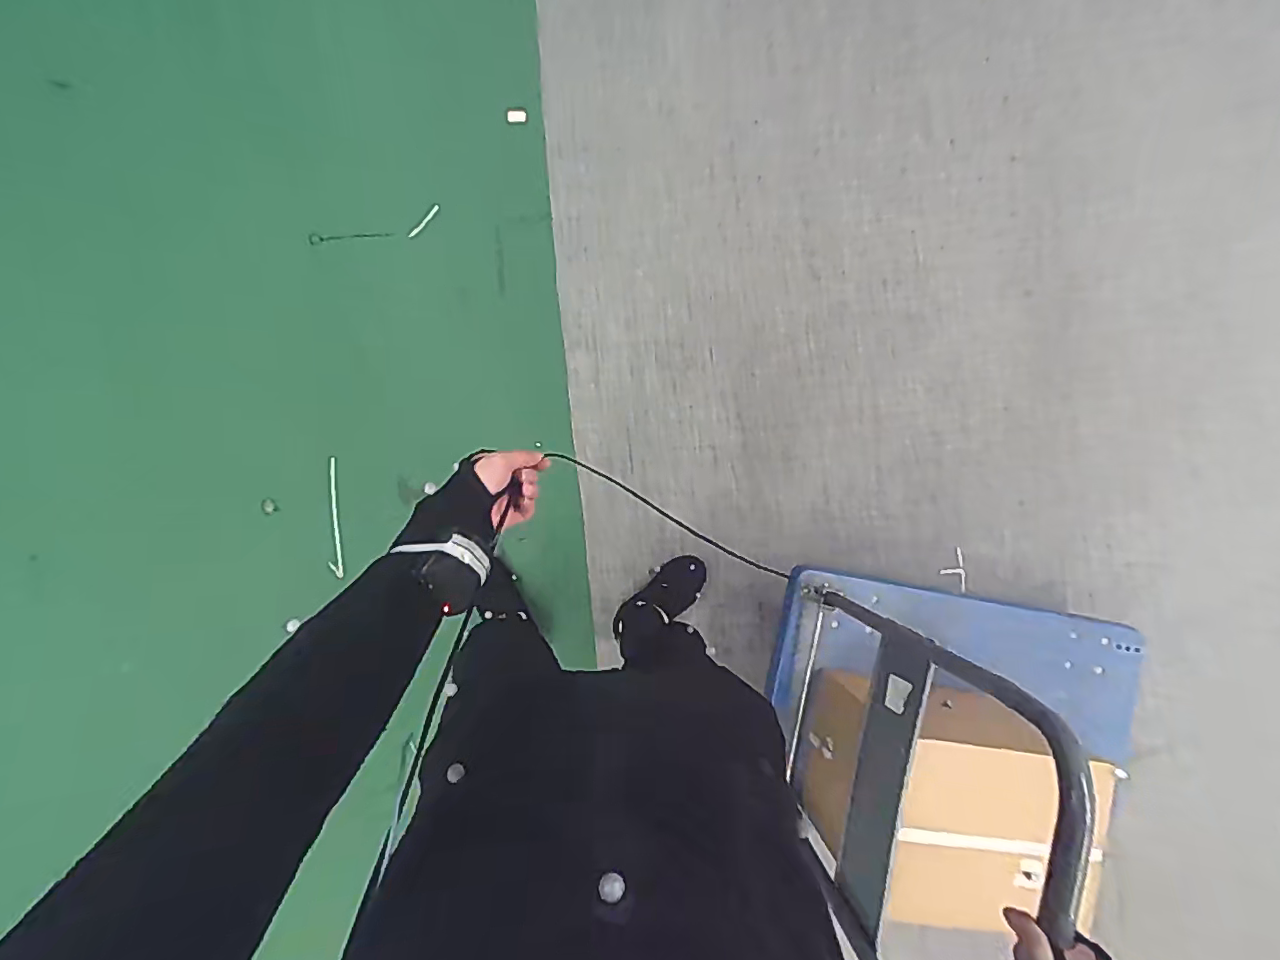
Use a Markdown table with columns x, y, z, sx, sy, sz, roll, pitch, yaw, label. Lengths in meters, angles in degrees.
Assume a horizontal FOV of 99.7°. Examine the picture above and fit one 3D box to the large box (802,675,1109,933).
| x | y | z | sx | sy | sz | roll | pitch | yaw | label |
| --- | --- | --- | --- | --- | --- | --- | --- | --- | --- |
| 0.585 | 0.608 | 1.068 | 0.408 | 0.320 | 0.320 | 10 | 90 | -7 | large box |
